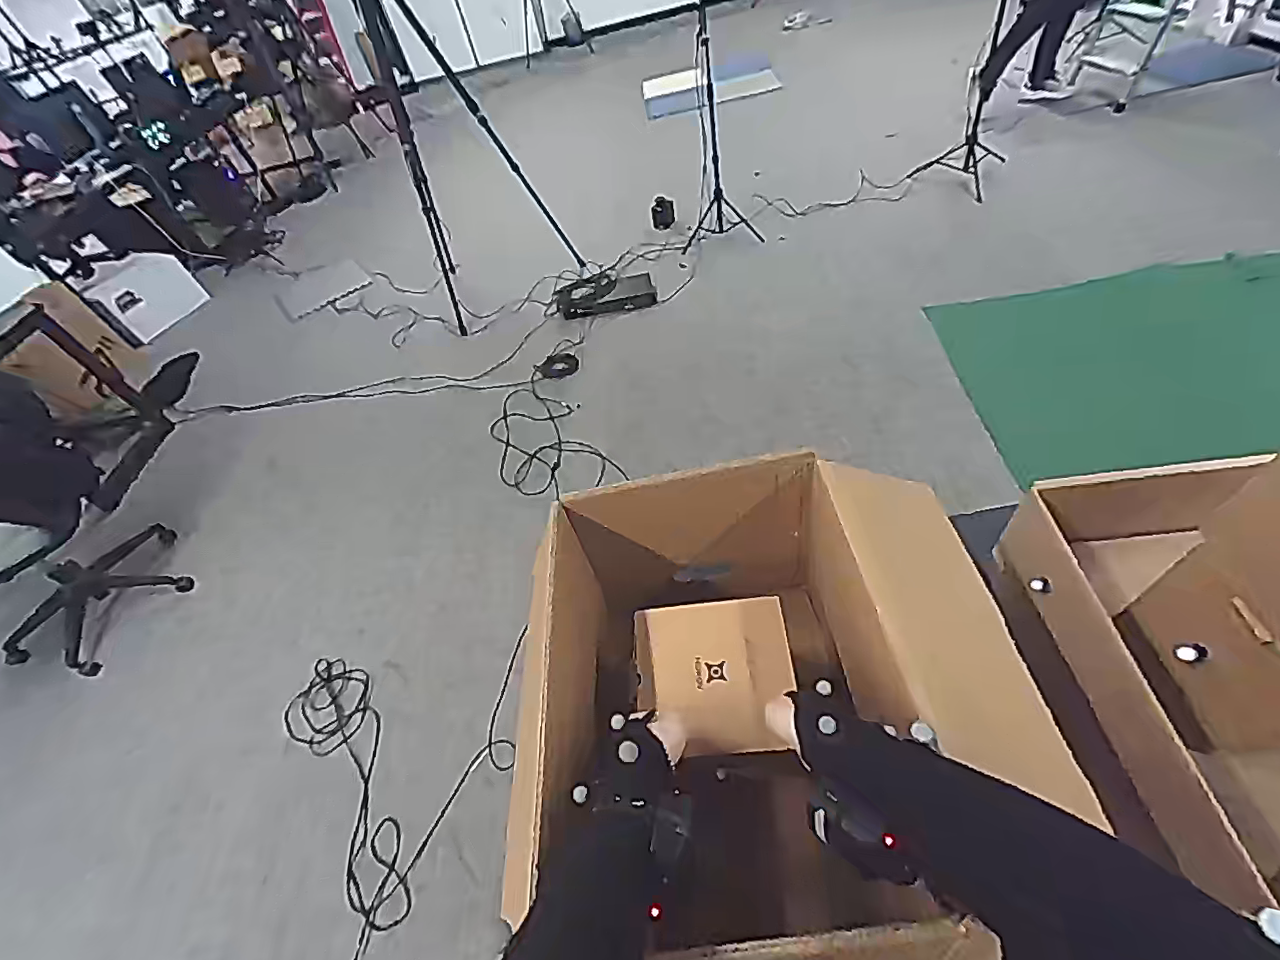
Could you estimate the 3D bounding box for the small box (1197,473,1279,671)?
[{"bbox_3d":[0.630,0.072,0.436,0.168,0.176,0.179,-6,52,9],"label":"small box"}]
